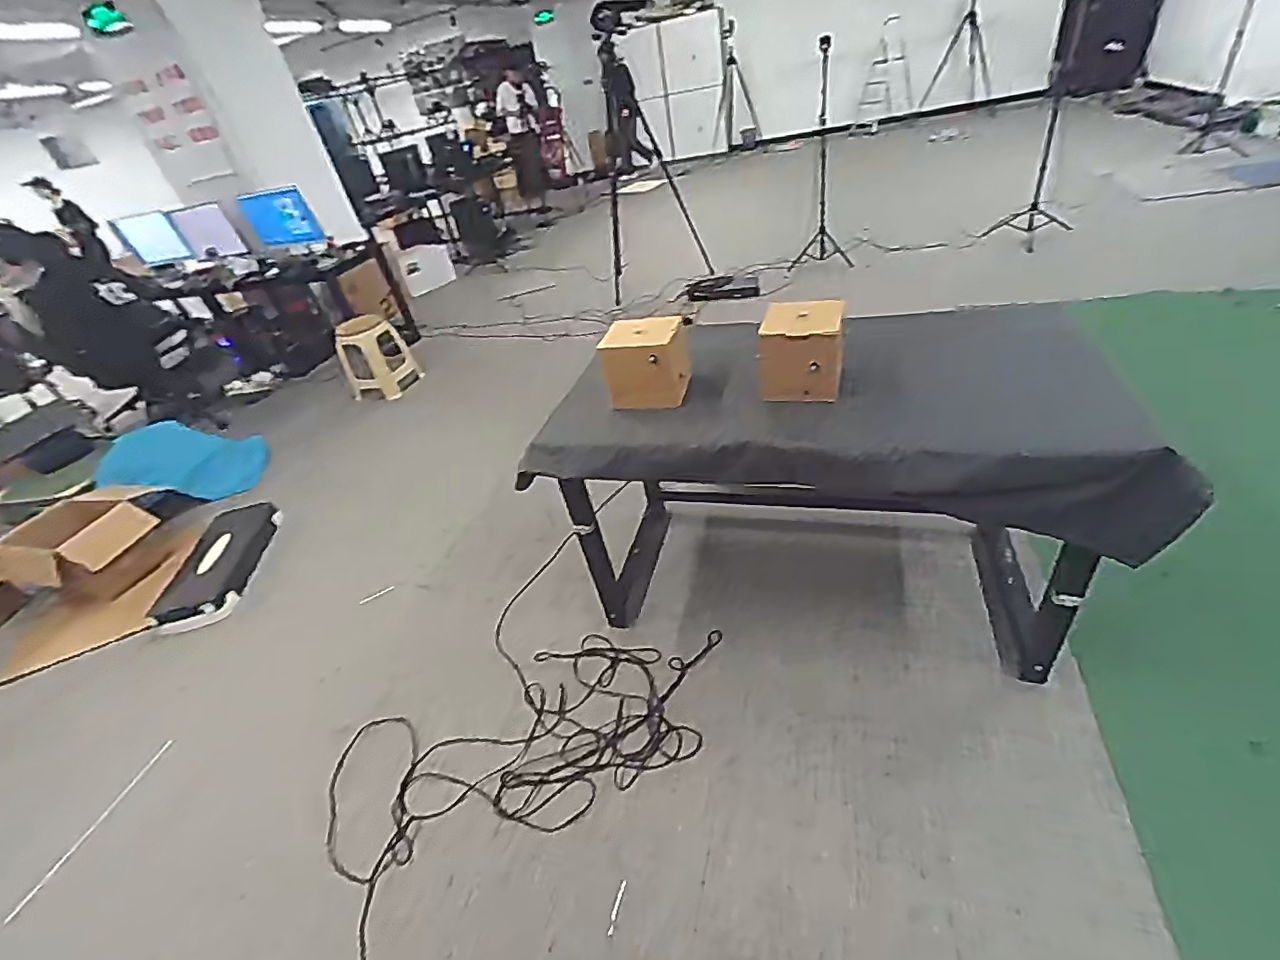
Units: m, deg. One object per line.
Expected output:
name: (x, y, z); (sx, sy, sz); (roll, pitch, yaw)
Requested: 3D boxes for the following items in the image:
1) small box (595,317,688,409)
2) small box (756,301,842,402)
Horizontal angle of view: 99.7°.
small box: (0.010, -0.285, 1.331); (0.179, 0.176, 0.168); (1, 39, 17)
small box: (0.364, -0.290, 1.231); (0.168, 0.176, 0.179); (5, 39, 21)
